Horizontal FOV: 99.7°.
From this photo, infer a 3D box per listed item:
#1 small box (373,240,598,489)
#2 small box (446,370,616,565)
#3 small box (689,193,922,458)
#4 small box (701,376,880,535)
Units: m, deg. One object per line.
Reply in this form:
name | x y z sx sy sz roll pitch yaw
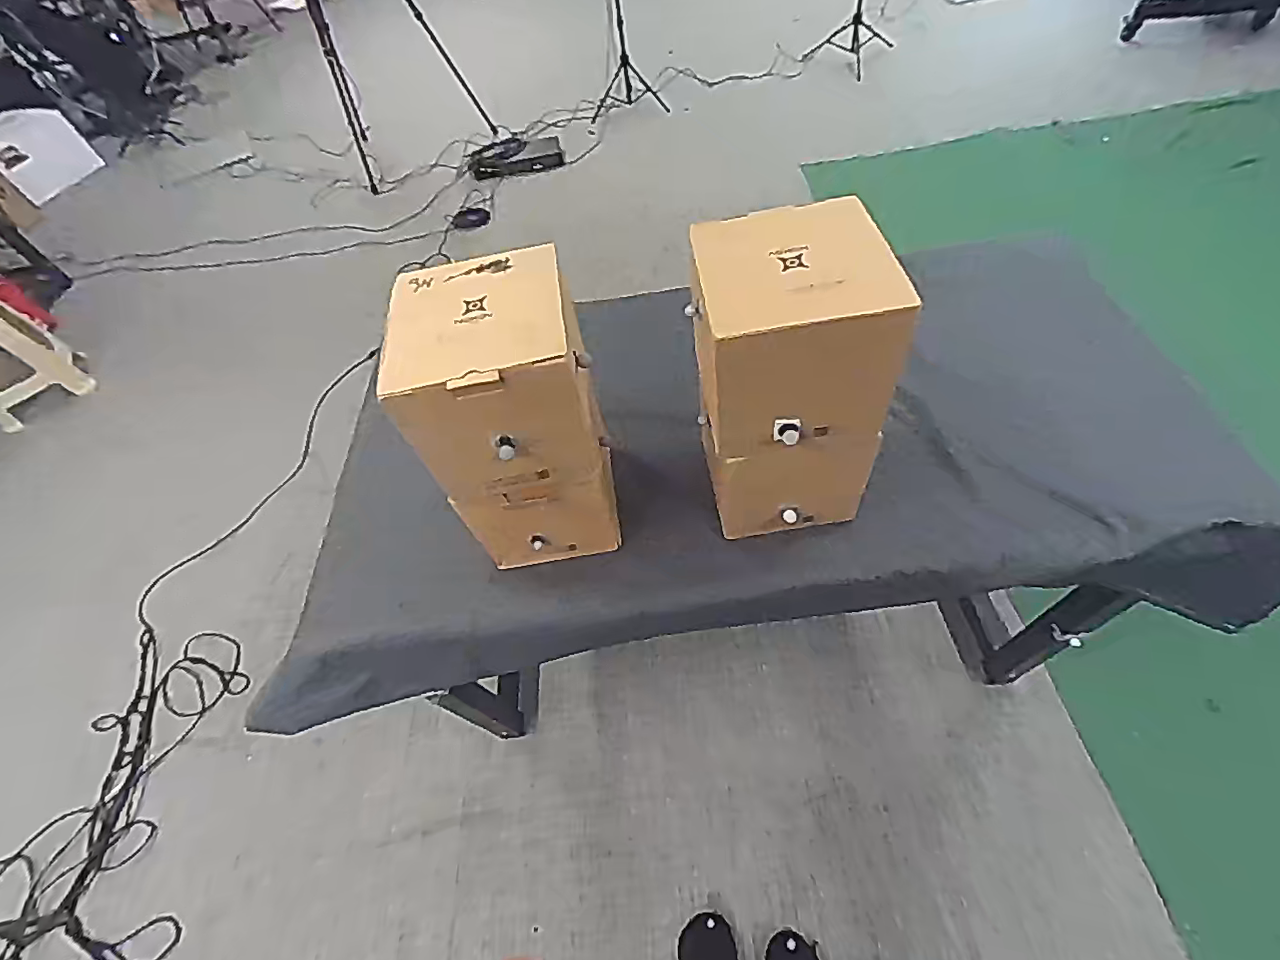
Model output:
small box | -0.143 -0.106 0.553 0.168 0.176 0.179 -11 56 0
small box | -0.128 -0.015 0.688 0.168 0.176 0.179 -10 55 1
small box | 0.143 -0.147 0.535 0.168 0.176 0.179 -9 55 4
small box | 0.167 -0.056 0.667 0.168 0.176 0.179 -9 54 3
